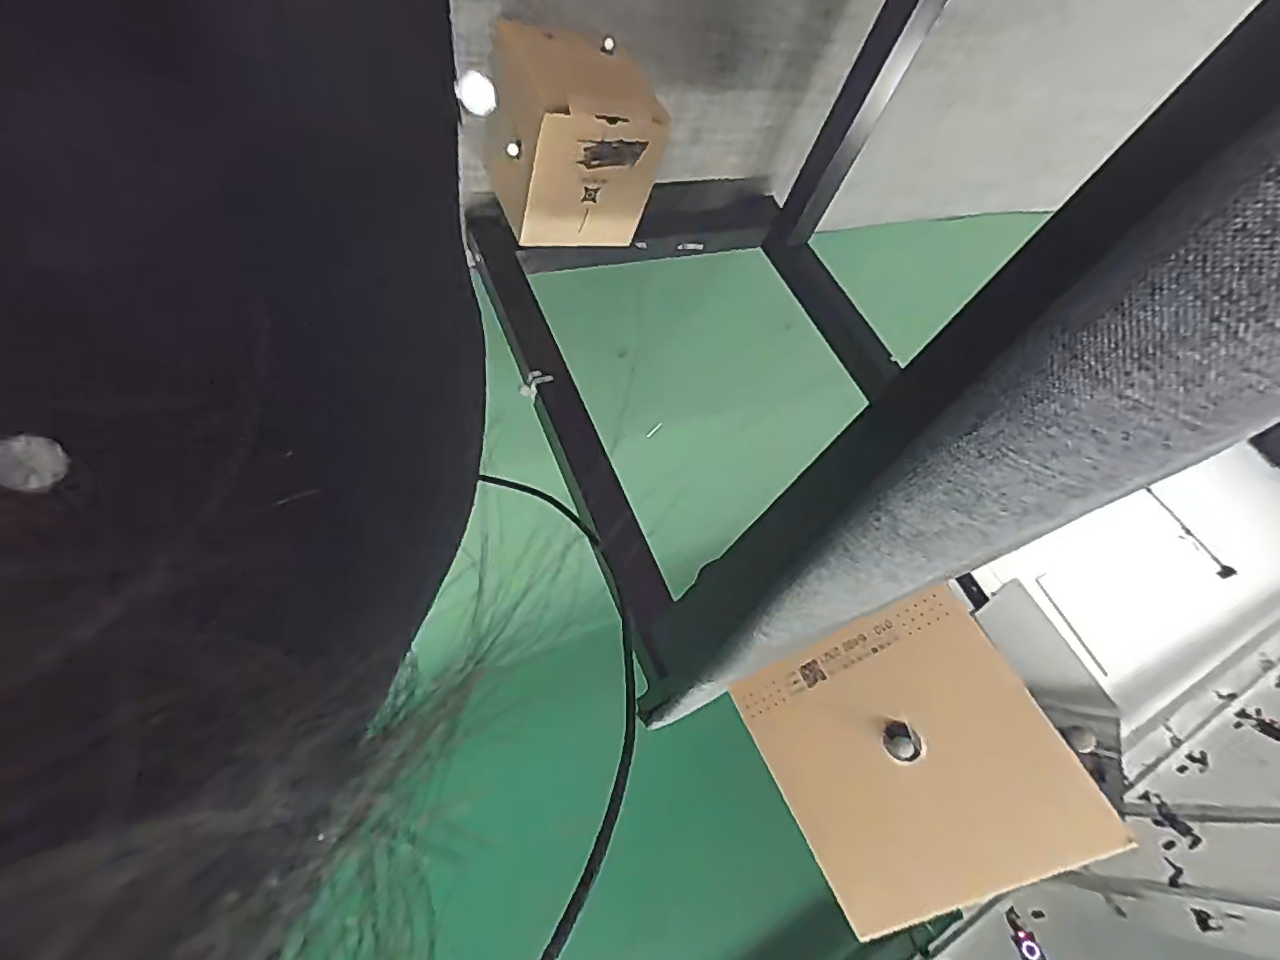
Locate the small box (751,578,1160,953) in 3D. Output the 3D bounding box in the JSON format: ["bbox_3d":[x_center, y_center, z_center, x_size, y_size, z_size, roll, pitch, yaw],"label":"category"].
[{"bbox_3d":[0.207,0.184,0.404,0.168,0.176,0.179,-36,156,16],"label":"small box"}]

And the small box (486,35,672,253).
[{"bbox_3d":[-0.089,-0.420,0.692,0.168,0.176,0.179,-13,156,-28],"label":"small box"}]
